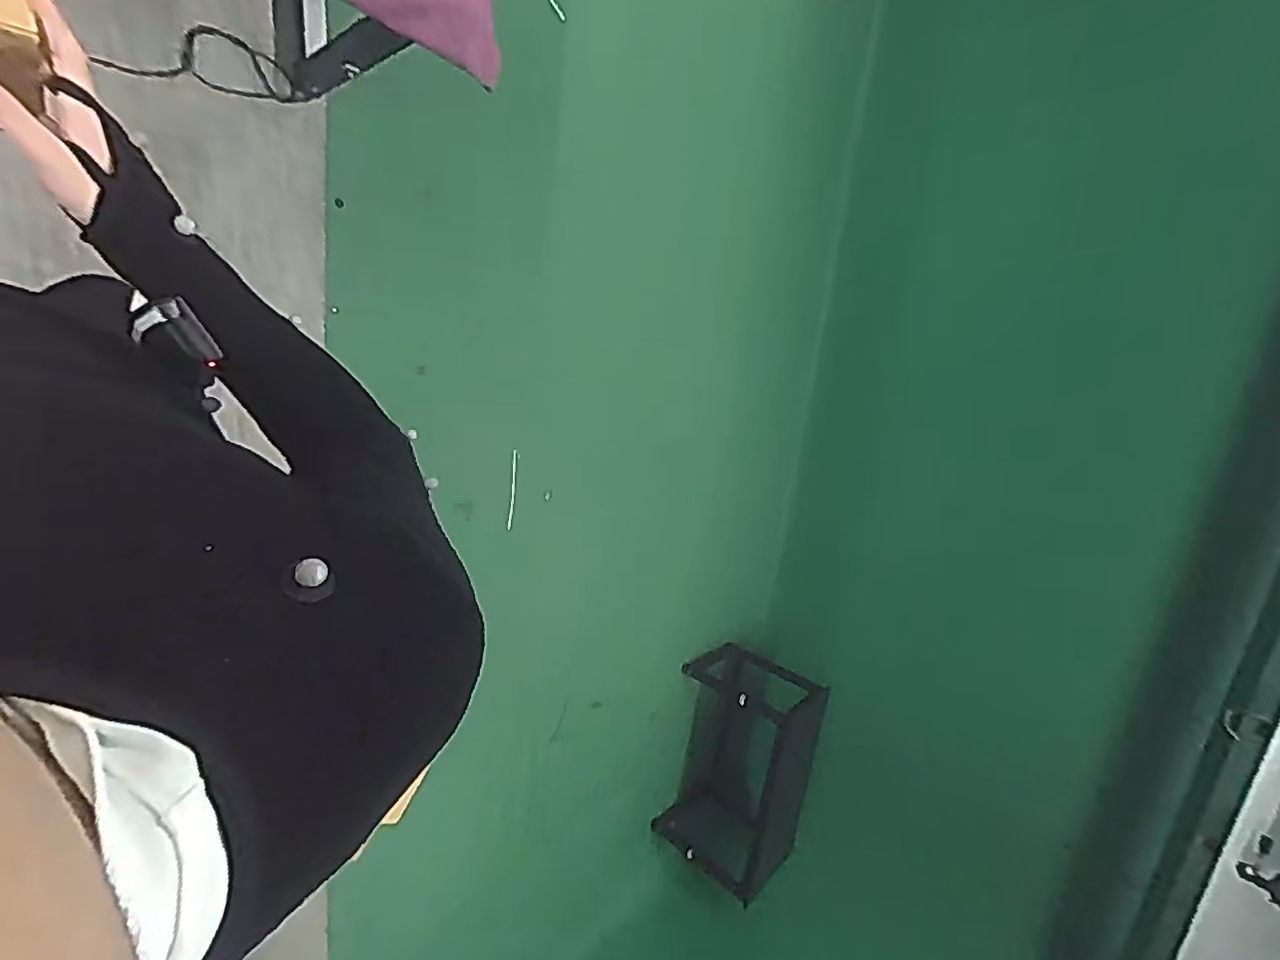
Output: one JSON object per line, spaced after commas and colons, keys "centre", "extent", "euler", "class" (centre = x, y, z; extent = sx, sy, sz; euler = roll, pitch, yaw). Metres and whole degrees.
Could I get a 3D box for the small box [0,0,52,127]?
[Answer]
{"centre": [-0.540, -0.395, 0.374], "extent": [0.168, 0.176, 0.179], "euler": [-8, 97, -47], "class": "small box"}
